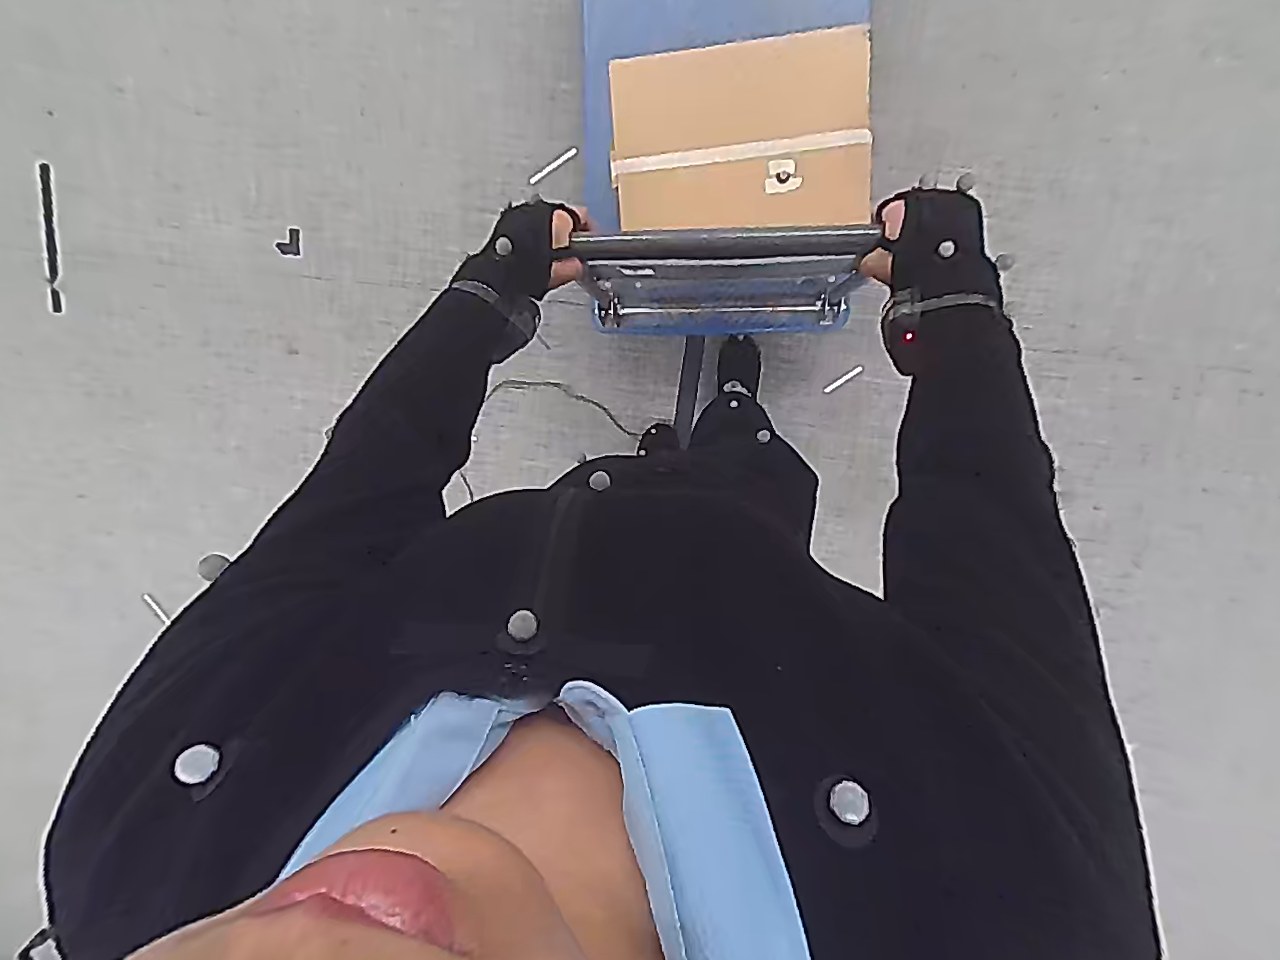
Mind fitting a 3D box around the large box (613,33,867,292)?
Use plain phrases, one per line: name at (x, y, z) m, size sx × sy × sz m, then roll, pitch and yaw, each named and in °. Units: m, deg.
large box at (0.176, -0.557, 1.027) m, size 0.408 × 0.320 × 0.320 m, roll -3°, pitch 102°, yaw 6°
